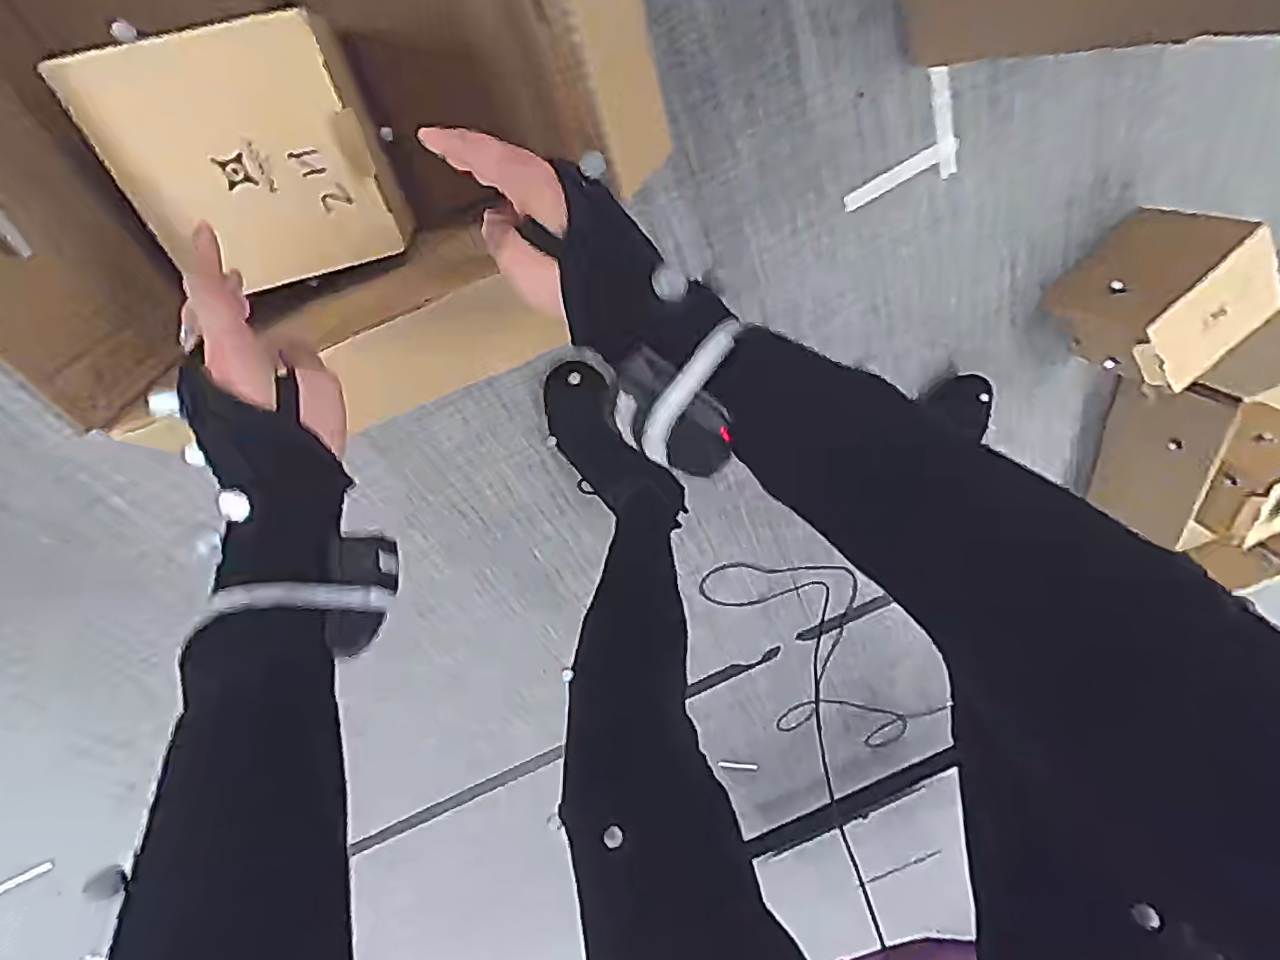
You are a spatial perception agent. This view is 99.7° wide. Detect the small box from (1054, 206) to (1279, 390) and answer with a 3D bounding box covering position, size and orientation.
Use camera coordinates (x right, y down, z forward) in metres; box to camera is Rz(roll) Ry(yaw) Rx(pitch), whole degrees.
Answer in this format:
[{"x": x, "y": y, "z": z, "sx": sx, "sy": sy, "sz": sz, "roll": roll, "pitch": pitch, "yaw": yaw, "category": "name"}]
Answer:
[{"x": 0.764, "y": -0.272, "z": 0.801, "sx": 0.168, "sy": 0.176, "sz": 0.179, "roll": 32, "pitch": 109, "yaw": -31, "category": "small box"}]
